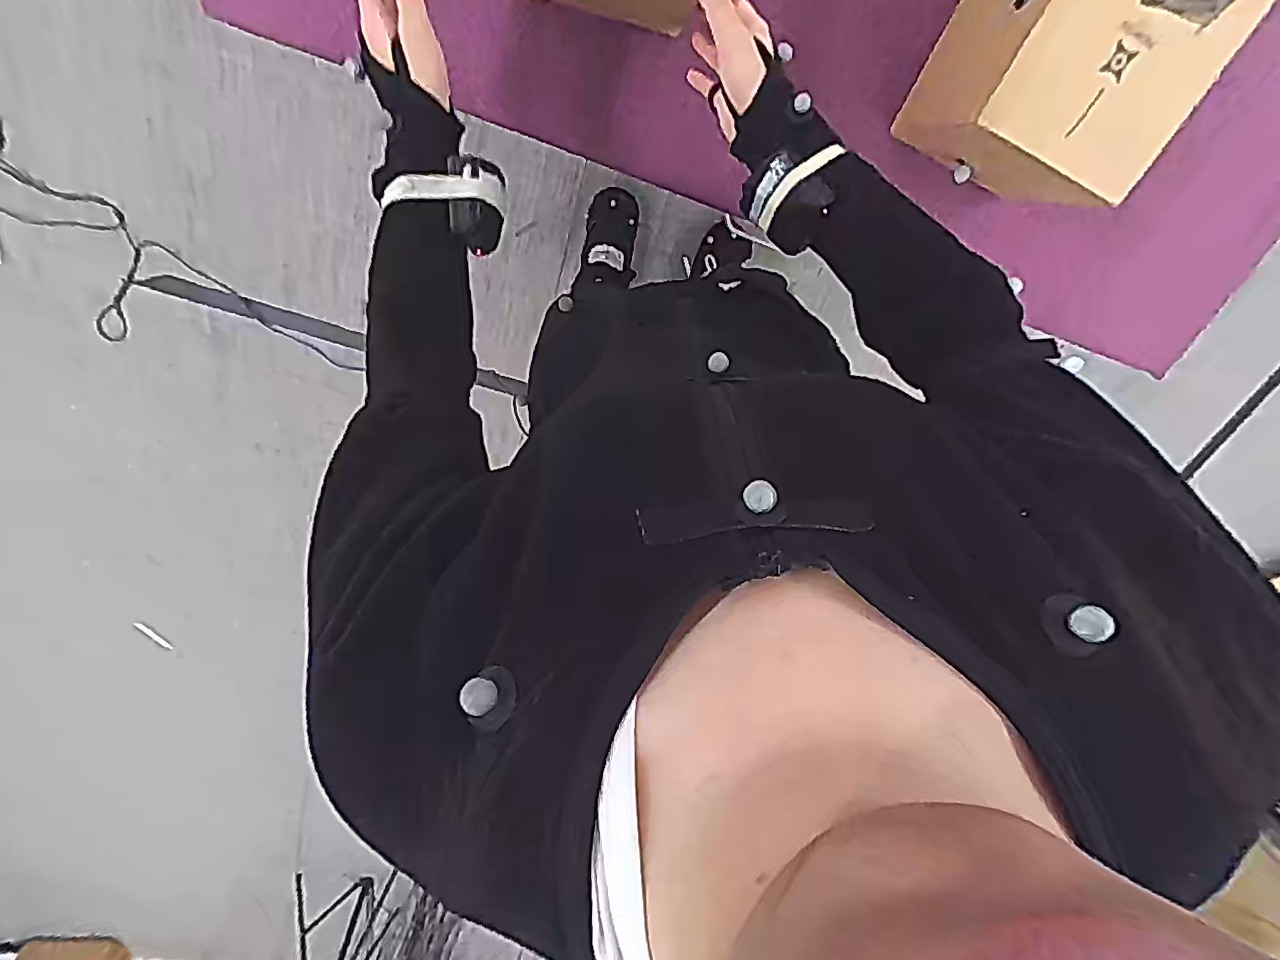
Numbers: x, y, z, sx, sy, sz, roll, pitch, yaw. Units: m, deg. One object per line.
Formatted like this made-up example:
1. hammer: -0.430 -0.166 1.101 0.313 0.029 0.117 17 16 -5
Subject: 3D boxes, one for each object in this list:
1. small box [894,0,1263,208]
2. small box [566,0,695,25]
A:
1. small box: 0.378 -0.383 0.503 0.168 0.176 0.179 20 118 -14
2. small box: -0.024 -0.489 0.420 0.179 0.176 0.168 10 119 -8
